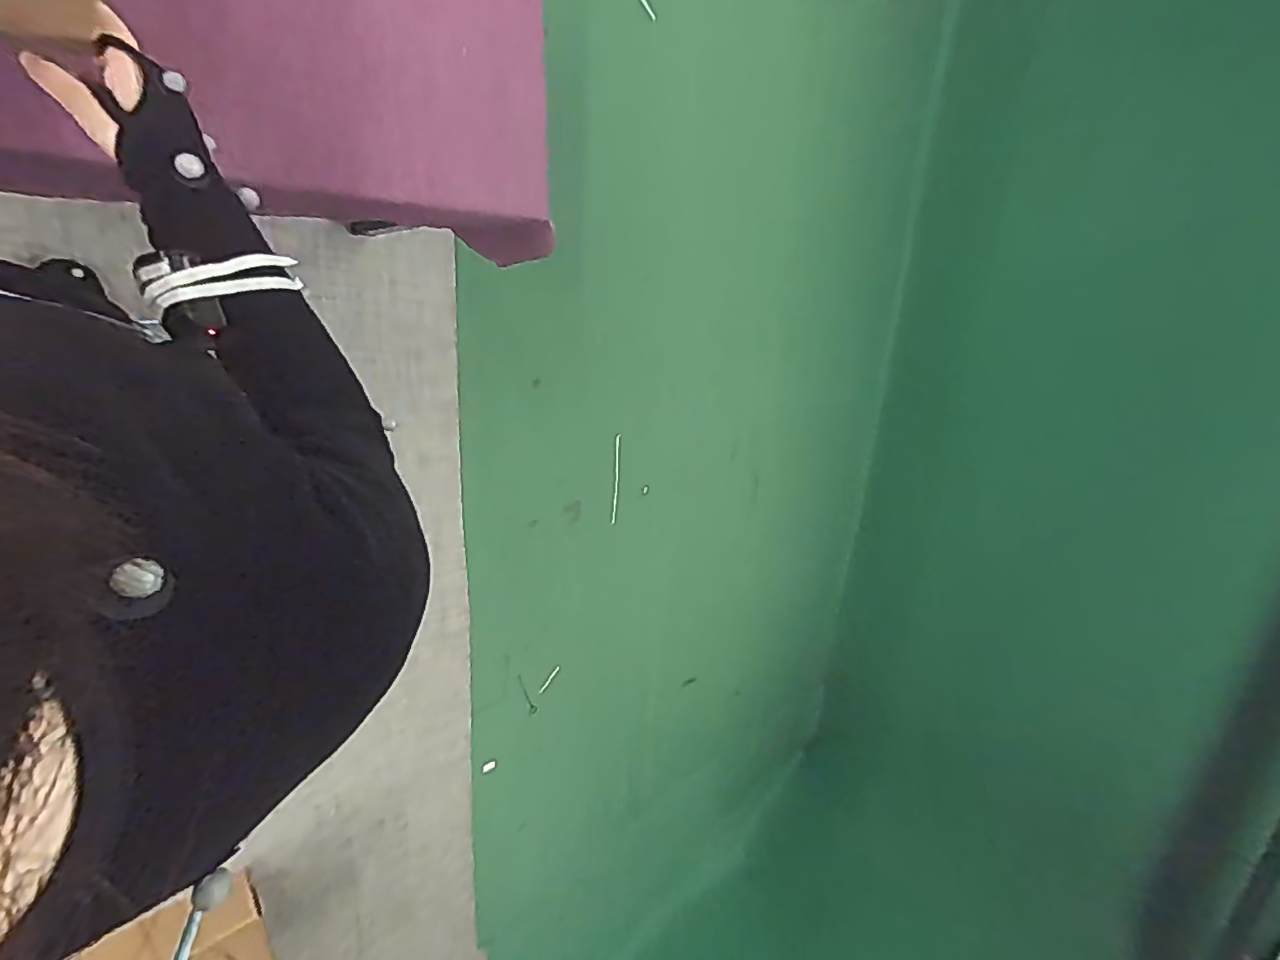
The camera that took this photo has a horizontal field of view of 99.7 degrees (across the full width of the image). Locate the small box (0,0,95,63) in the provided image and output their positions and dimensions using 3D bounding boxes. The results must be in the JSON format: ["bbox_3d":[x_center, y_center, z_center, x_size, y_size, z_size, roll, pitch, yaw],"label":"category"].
[{"bbox_3d":[-0.412,-0.347,0.266,0.168,0.176,0.179,-19,119,-41],"label":"small box"}]
